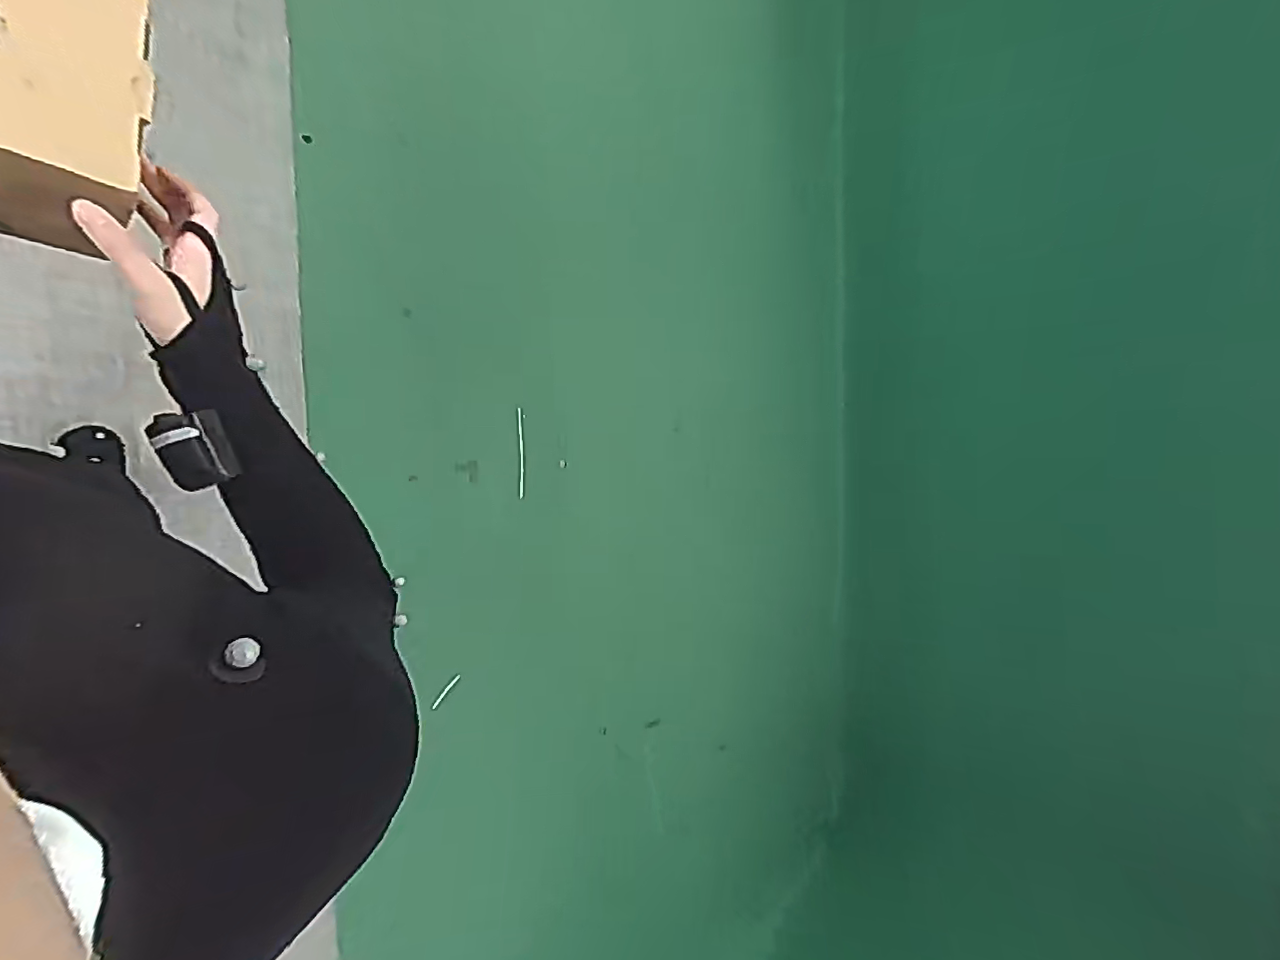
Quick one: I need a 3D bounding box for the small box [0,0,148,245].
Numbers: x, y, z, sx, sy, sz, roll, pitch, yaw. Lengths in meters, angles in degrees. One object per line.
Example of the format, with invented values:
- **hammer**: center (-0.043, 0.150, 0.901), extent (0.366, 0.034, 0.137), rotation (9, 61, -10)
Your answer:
- **small box**: center (-0.485, -0.291, 0.382), extent (0.179, 0.176, 0.168), rotation (4, 84, -50)
